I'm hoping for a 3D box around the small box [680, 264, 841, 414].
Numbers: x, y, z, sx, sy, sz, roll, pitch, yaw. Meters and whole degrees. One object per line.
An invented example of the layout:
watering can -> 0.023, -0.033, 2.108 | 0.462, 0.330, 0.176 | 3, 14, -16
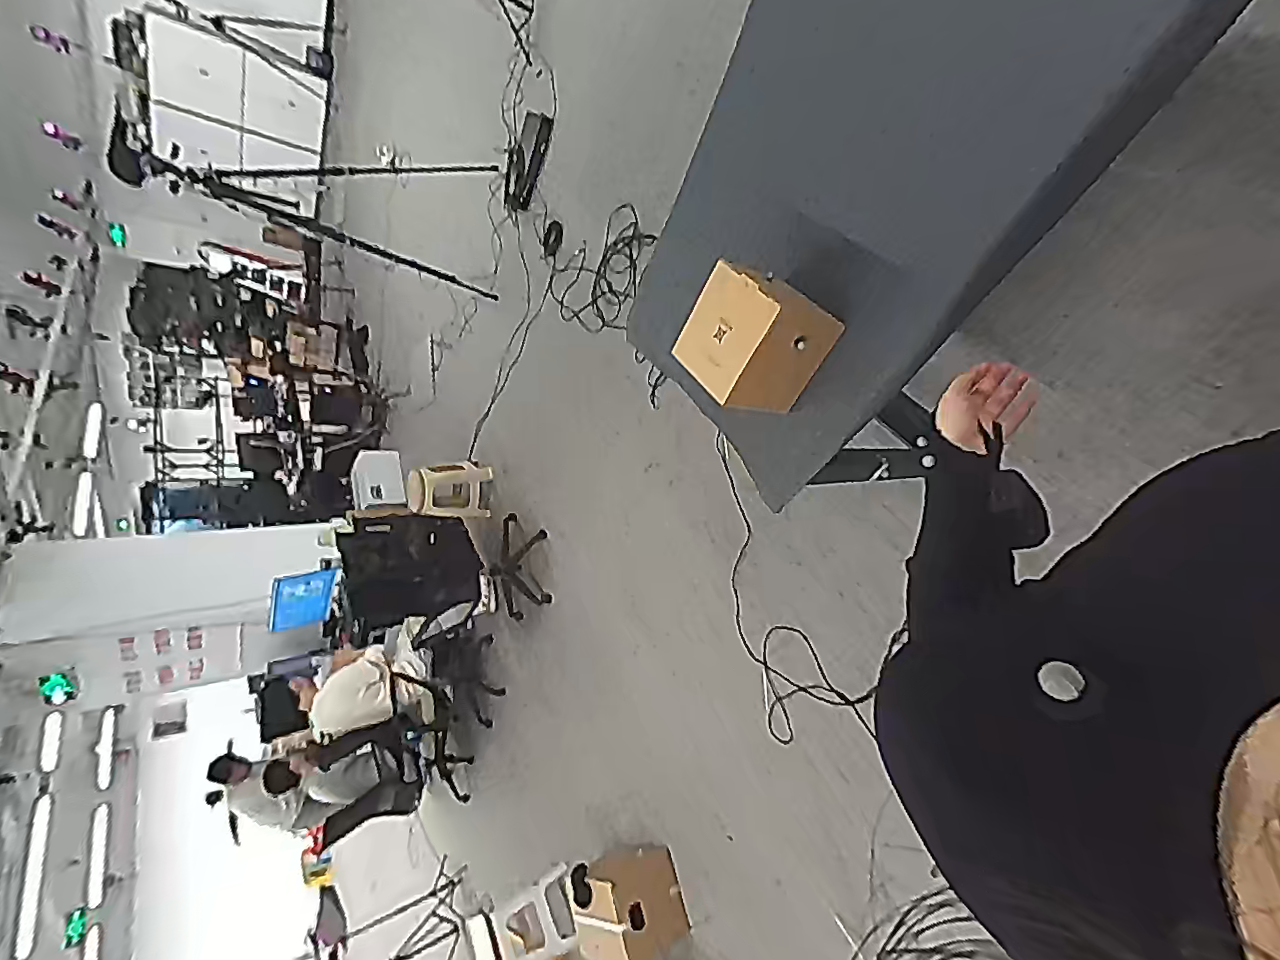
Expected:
small box -> 0.204, -0.228, 0.904 | 0.168, 0.176, 0.179 | 55, 132, 37
